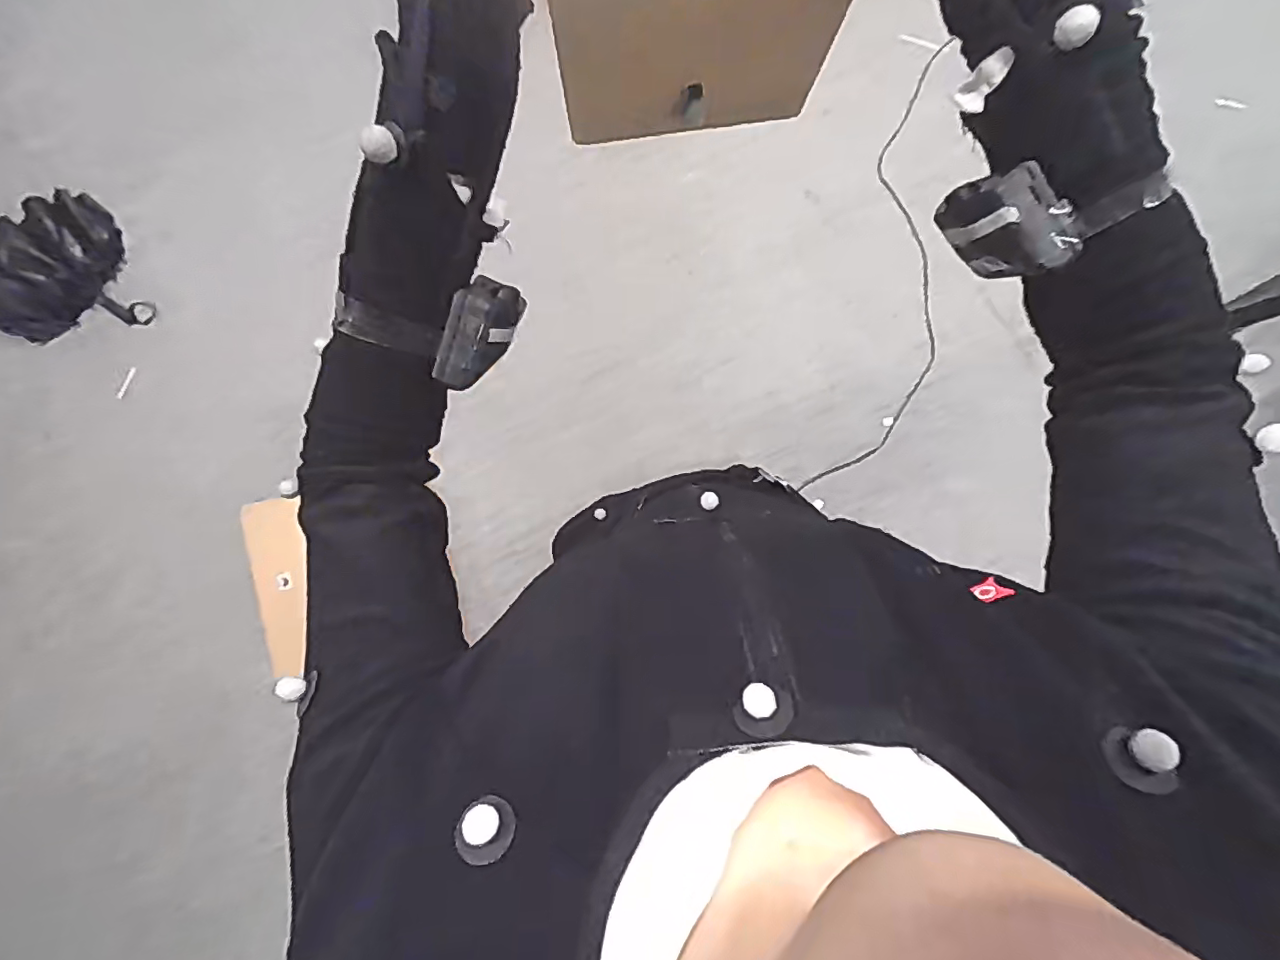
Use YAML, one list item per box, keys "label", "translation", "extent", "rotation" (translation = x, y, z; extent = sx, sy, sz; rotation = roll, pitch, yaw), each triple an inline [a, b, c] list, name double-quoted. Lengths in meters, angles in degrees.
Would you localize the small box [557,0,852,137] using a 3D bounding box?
- label: "small box"
  translation: [0.032, -0.346, 0.331]
  extent: [0.179, 0.176, 0.168]
  rotation: [-7, 90, -2]
